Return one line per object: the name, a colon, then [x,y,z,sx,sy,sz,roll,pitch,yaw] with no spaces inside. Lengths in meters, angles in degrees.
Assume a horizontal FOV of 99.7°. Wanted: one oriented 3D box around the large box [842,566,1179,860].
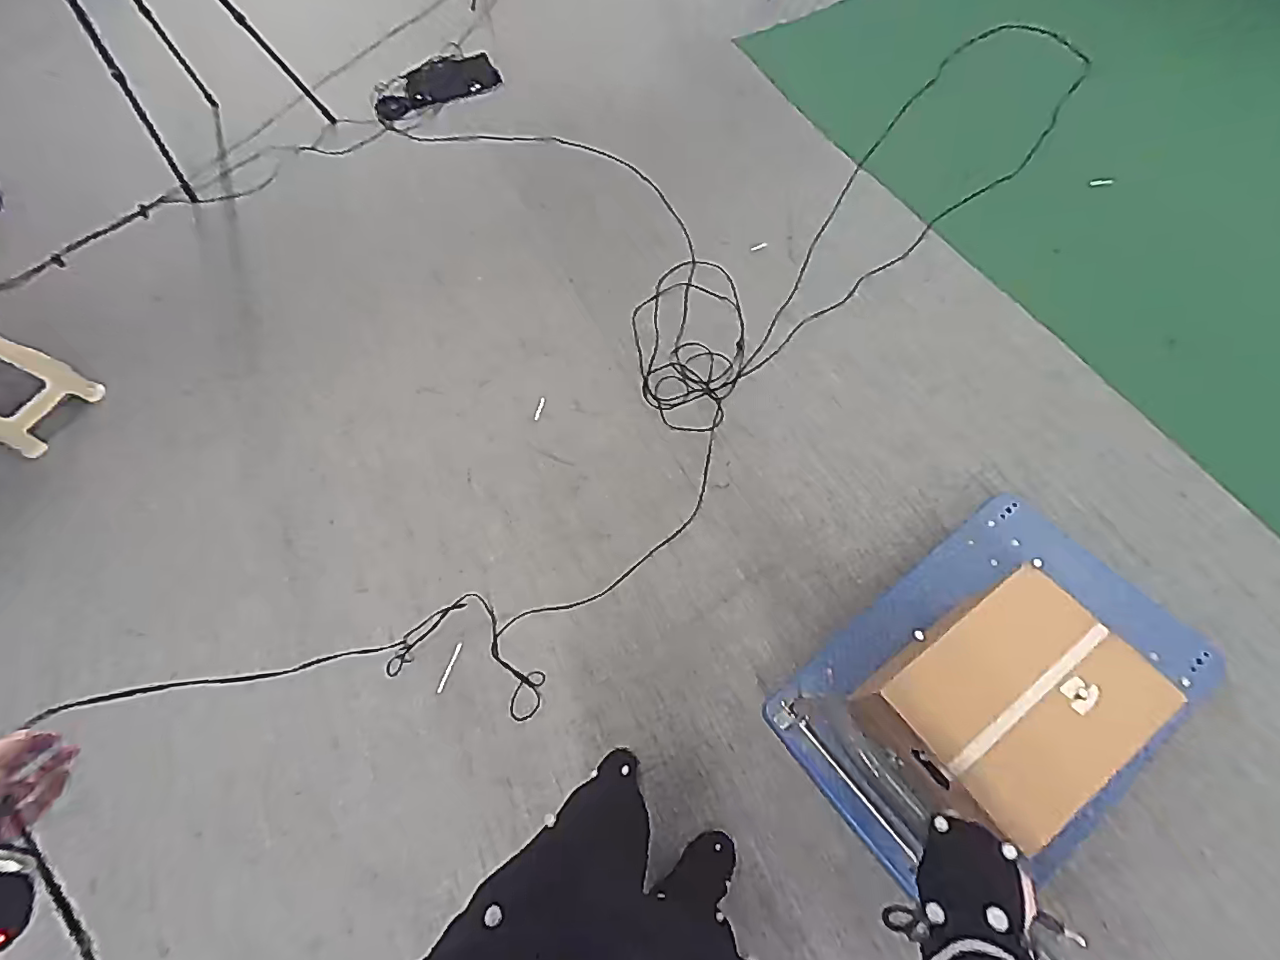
large box: [0.683,0.446,1.070,0.408,0.320,0.320,-34,66,-11]
